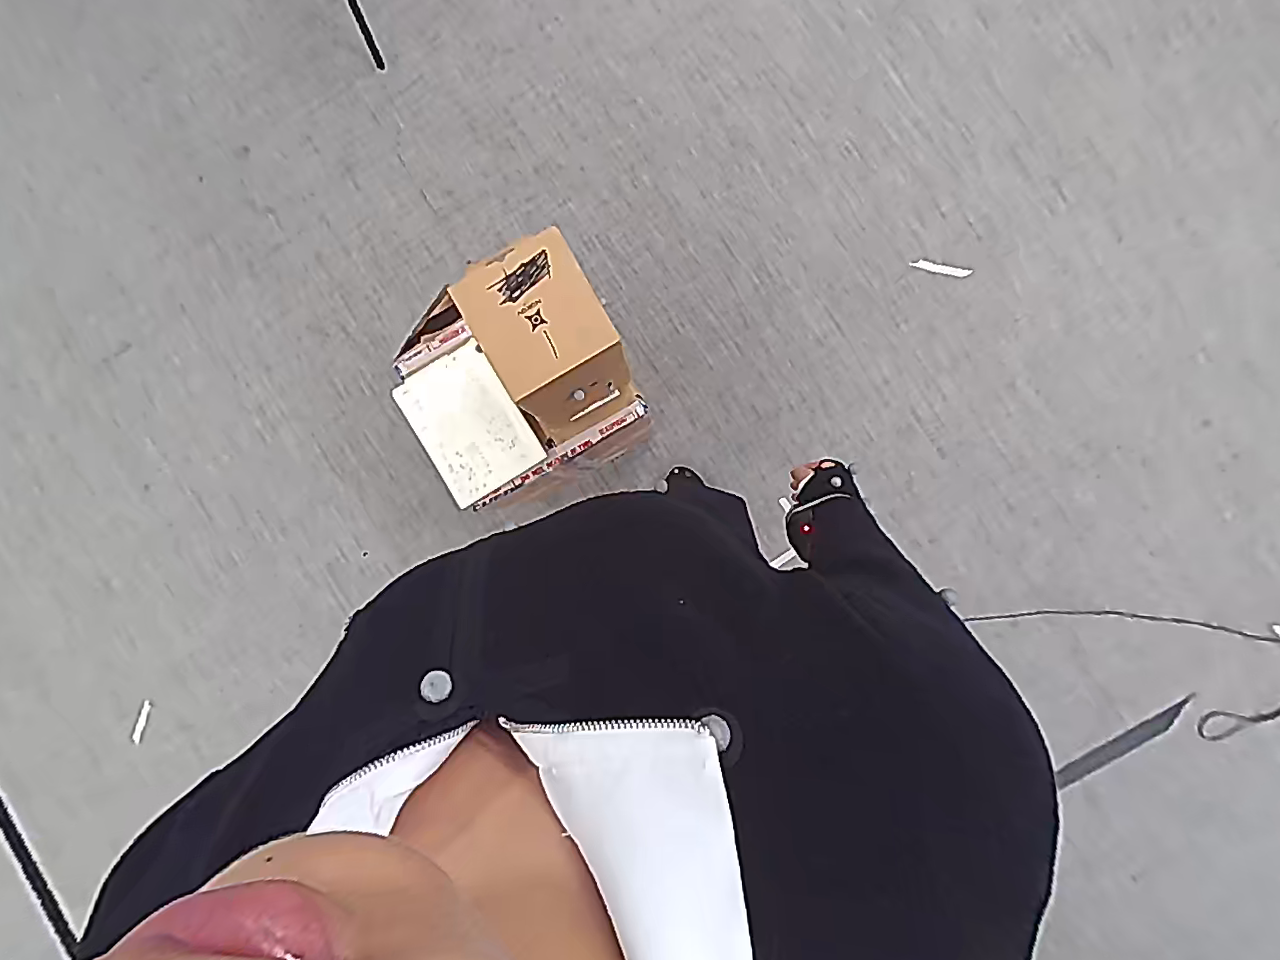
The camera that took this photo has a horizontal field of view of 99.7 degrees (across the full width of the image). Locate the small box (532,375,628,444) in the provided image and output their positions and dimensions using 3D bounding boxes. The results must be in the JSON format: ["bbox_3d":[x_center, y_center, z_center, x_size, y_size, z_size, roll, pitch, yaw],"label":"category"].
[{"bbox_3d":[-0.135,-0.179,0.956,0.179,0.176,0.168,-33,89,1],"label":"small box"}]

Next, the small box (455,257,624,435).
[{"bbox_3d":[-0.135,-0.181,0.792,0.168,0.176,0.179,-30,90,1],"label":"small box"}]
